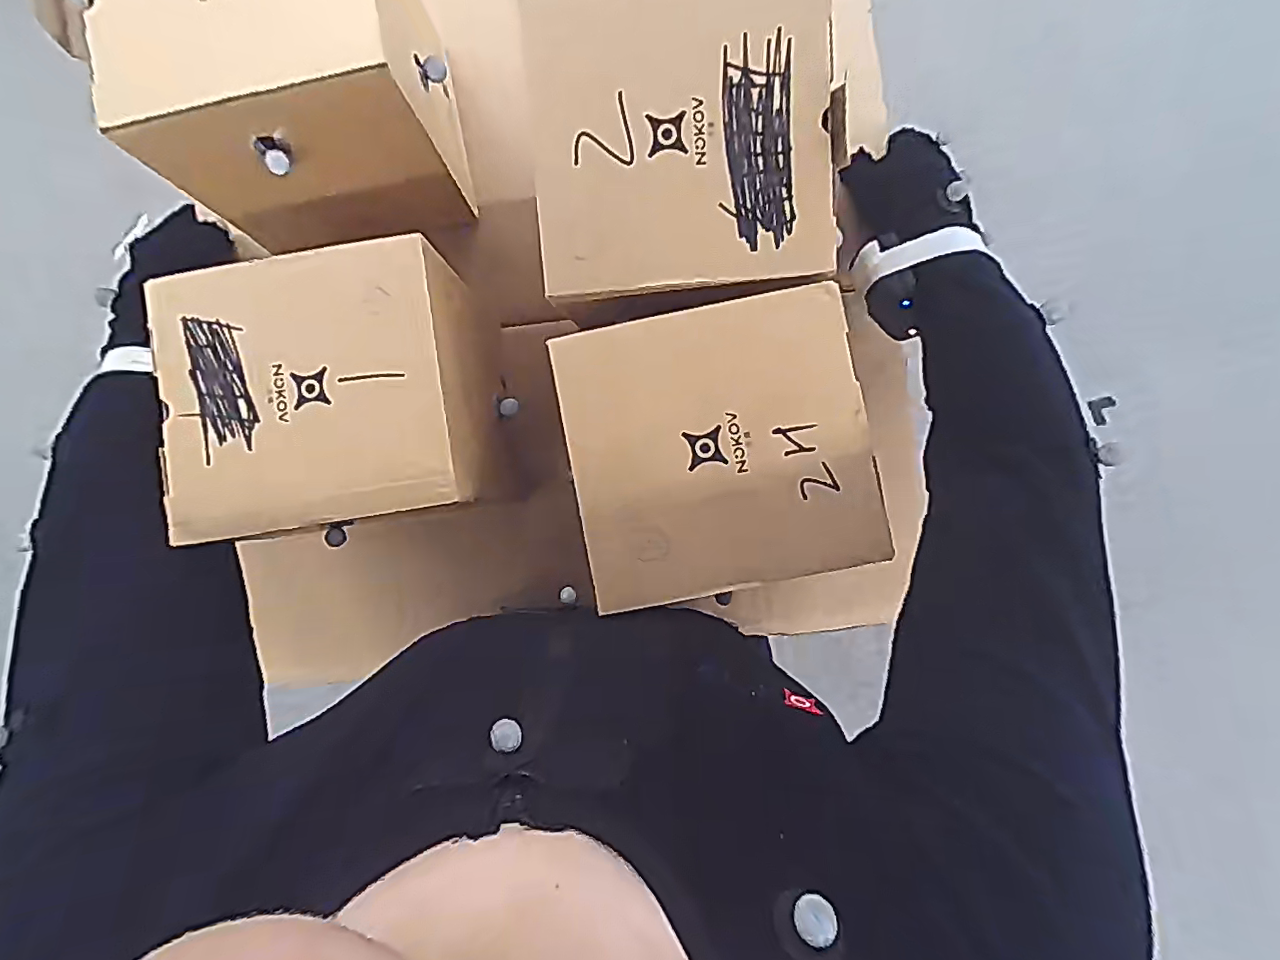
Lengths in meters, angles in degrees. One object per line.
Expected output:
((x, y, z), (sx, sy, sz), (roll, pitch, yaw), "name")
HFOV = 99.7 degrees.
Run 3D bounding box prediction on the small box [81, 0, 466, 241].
((-0.243, -0.305, 0.396), (0.179, 0.176, 0.168), (-12, 86, 2), "small box")
